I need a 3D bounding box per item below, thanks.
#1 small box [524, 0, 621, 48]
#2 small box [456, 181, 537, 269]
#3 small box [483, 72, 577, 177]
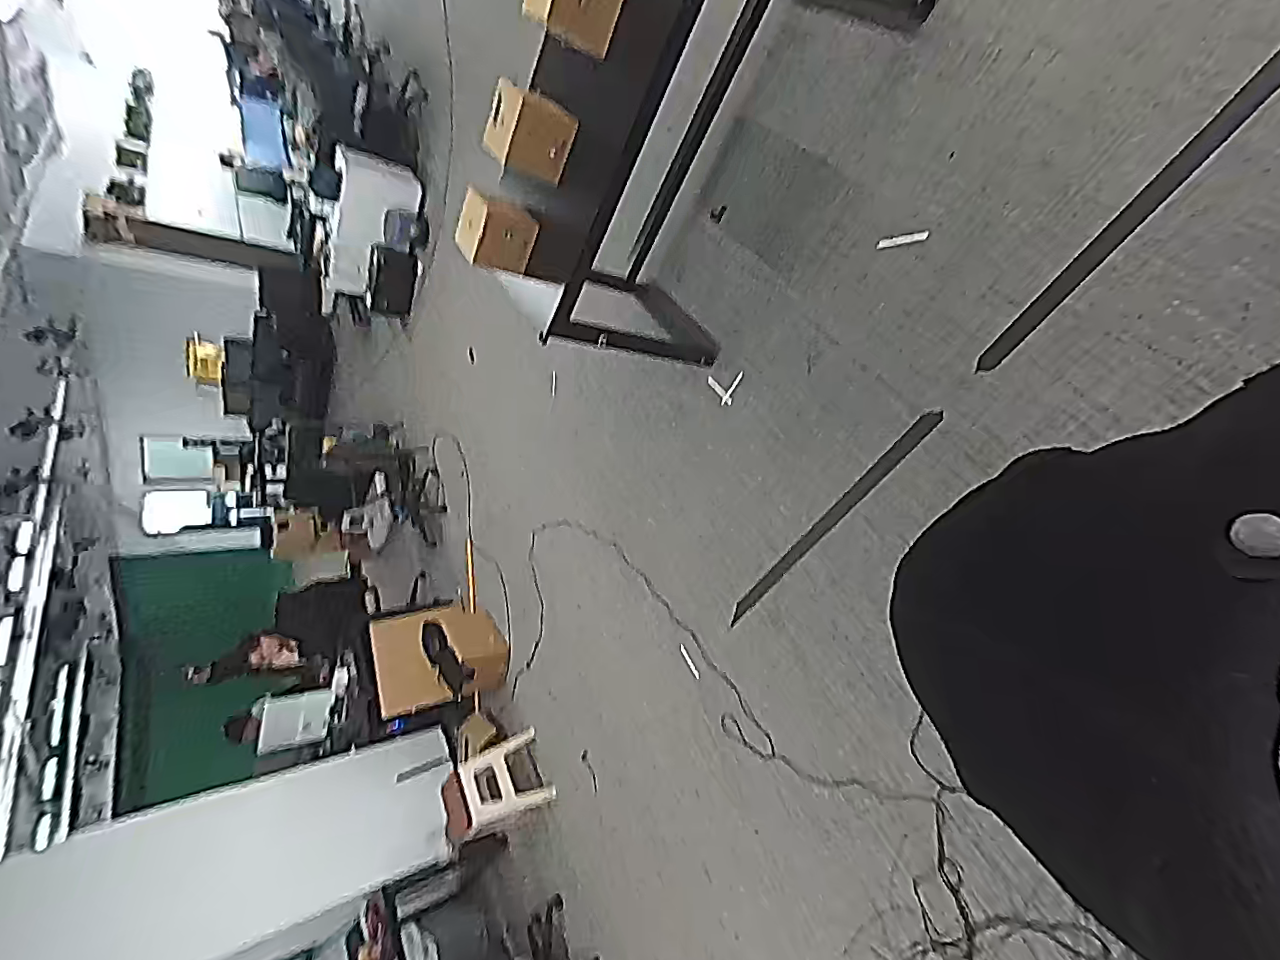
[{"bbox_3d":[-0.152,-1.179,1.290,0.168,0.176,0.179,52,128,35],"label":"small box"},{"bbox_3d":[-0.430,-0.758,1.625,0.179,0.176,0.168,55,128,34],"label":"small box"},{"bbox_3d":[-0.298,-0.956,1.465,0.179,0.176,0.168,55,129,33],"label":"small box"}]
